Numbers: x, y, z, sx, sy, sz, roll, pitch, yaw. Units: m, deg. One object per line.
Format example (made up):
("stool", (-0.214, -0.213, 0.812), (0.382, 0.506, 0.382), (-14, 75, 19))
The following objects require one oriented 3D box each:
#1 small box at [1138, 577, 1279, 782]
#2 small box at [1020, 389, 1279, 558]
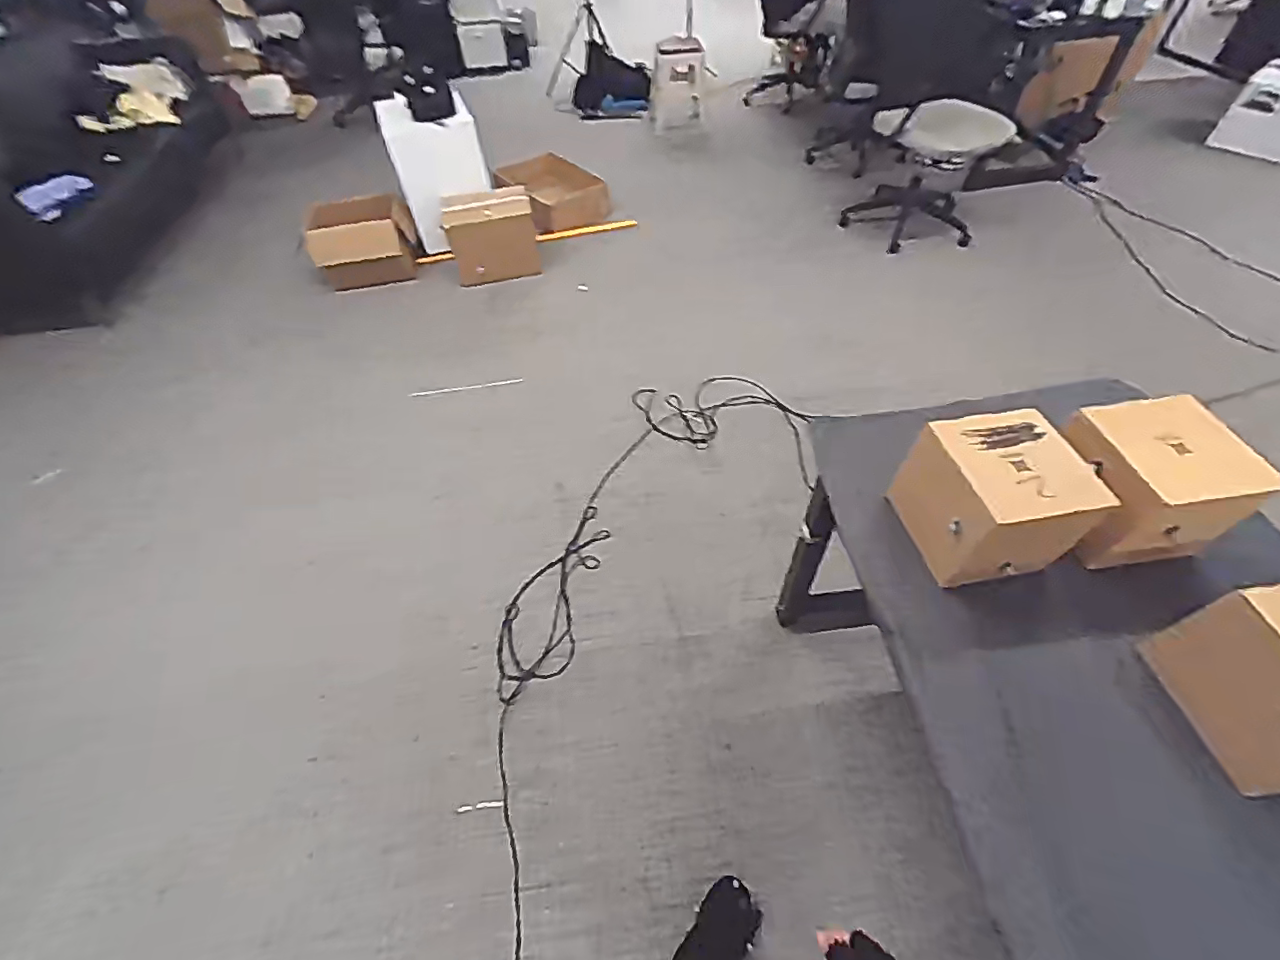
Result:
("small box", (0.730, 0.218, 0.594), (0.168, 0.176, 0.179), (-8, 51, -3))
("small box", (0.705, -0.002, 0.777), (0.168, 0.176, 0.179), (-8, 51, -3))
